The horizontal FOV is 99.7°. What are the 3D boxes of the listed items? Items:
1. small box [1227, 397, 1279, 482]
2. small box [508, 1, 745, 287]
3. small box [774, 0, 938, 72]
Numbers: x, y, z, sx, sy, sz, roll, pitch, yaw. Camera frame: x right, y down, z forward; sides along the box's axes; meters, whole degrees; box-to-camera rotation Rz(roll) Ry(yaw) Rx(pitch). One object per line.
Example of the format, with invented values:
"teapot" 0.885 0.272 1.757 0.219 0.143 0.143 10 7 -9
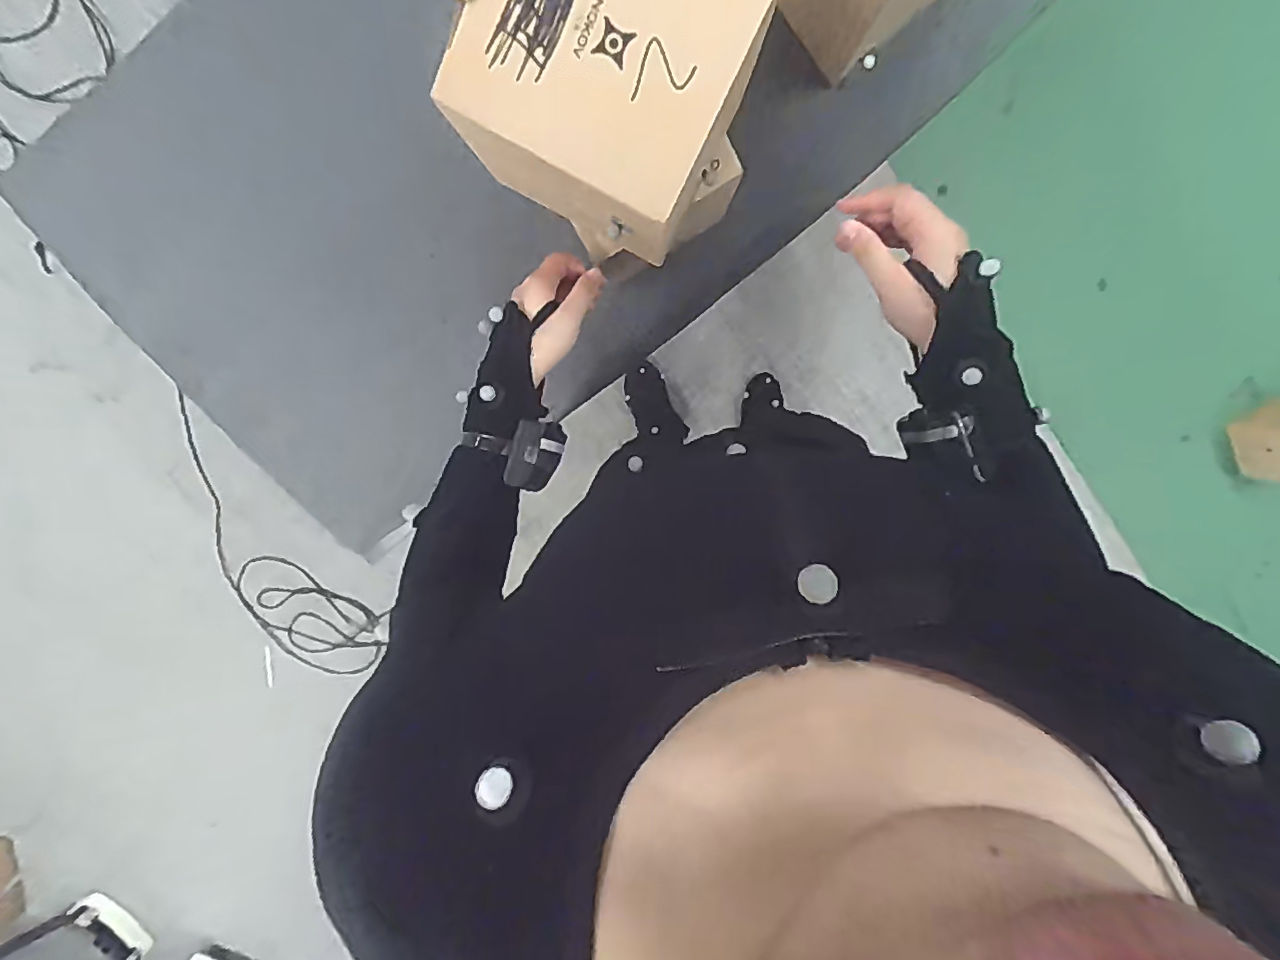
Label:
"small box" 1.680 -0.100 1.387 0.179 0.176 0.168 -30 102 7
"small box" -0.012 -0.333 0.581 0.168 0.176 0.179 -30 101 7
"small box" 0.231 -0.548 0.525 0.168 0.176 0.179 -38 98 9
